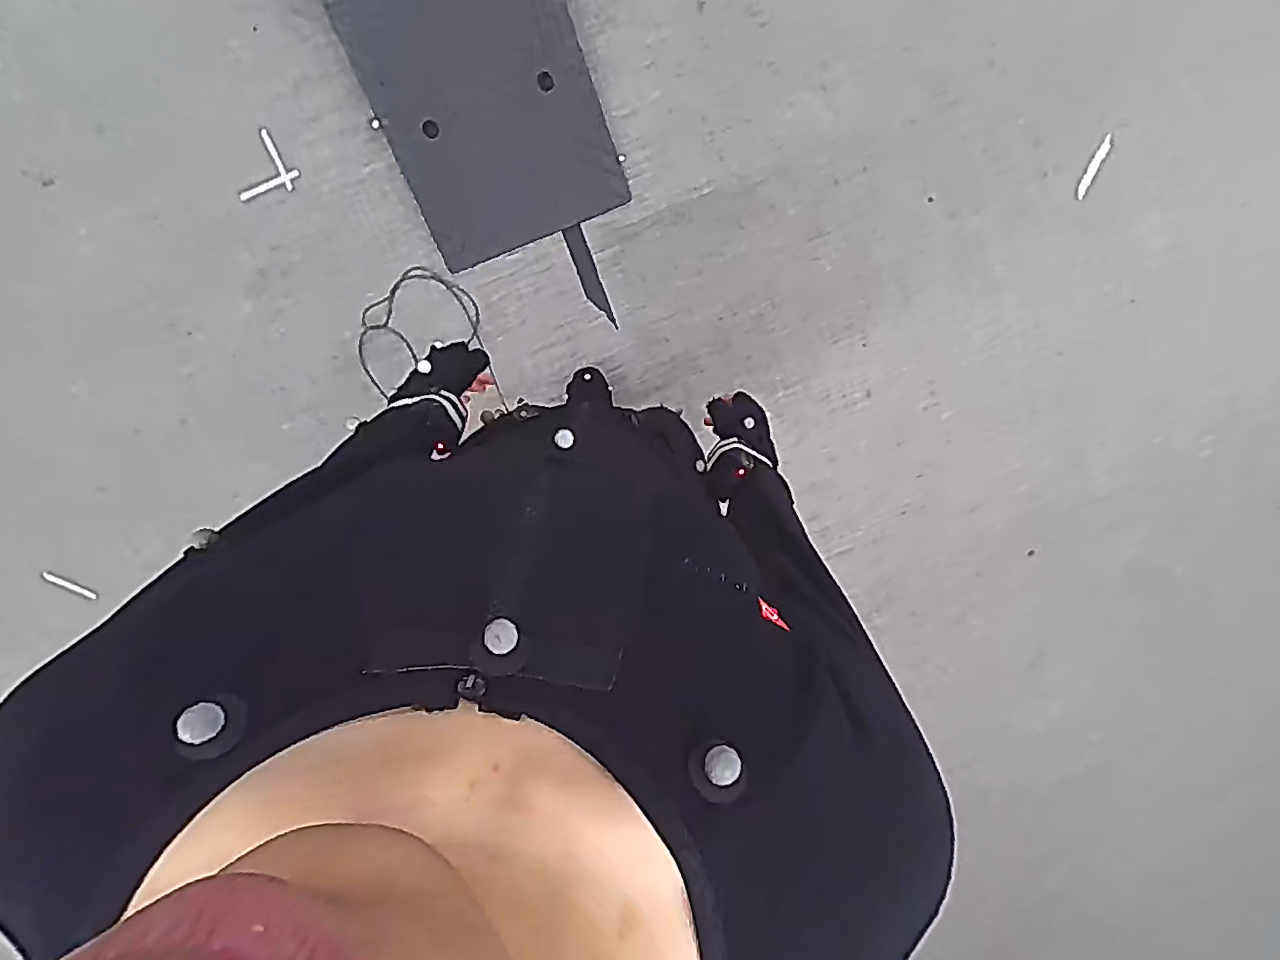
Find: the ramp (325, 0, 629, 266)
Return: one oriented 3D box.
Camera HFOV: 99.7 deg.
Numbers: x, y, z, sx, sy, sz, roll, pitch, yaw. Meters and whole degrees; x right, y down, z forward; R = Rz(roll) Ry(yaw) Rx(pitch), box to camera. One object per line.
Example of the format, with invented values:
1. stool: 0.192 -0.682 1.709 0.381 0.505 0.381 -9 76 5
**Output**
1. ramp: -0.416 -1.047 1.162 0.509 0.206 0.991 -23 102 1
